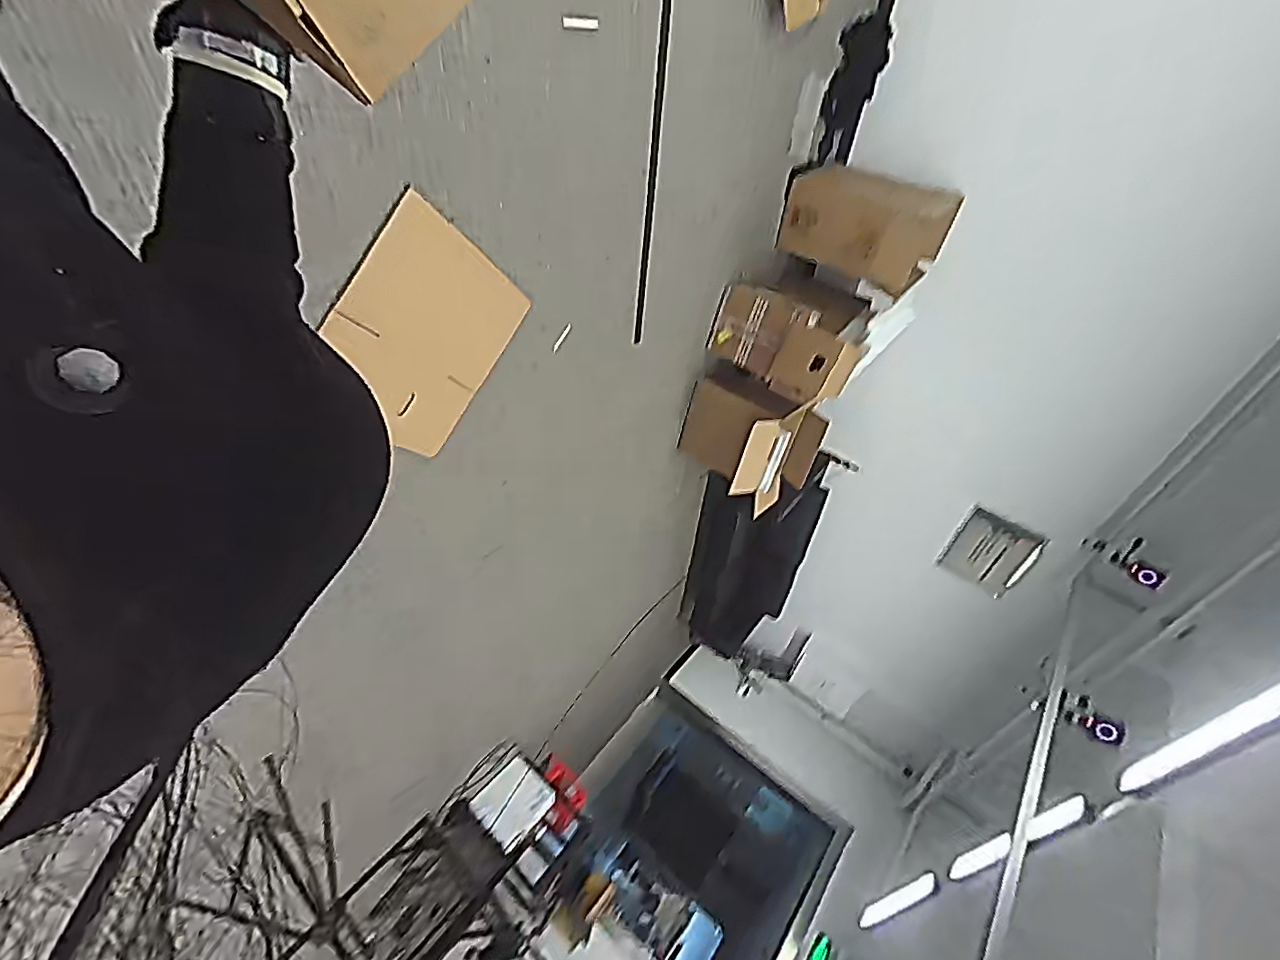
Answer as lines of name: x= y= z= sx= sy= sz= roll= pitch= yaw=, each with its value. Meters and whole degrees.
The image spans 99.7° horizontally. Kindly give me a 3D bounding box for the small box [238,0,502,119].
small box: x=-0.163 y=-0.335 z=0.251 sx=0.179 sy=0.176 sz=0.168 roll=-50 pitch=176 yaw=-2
